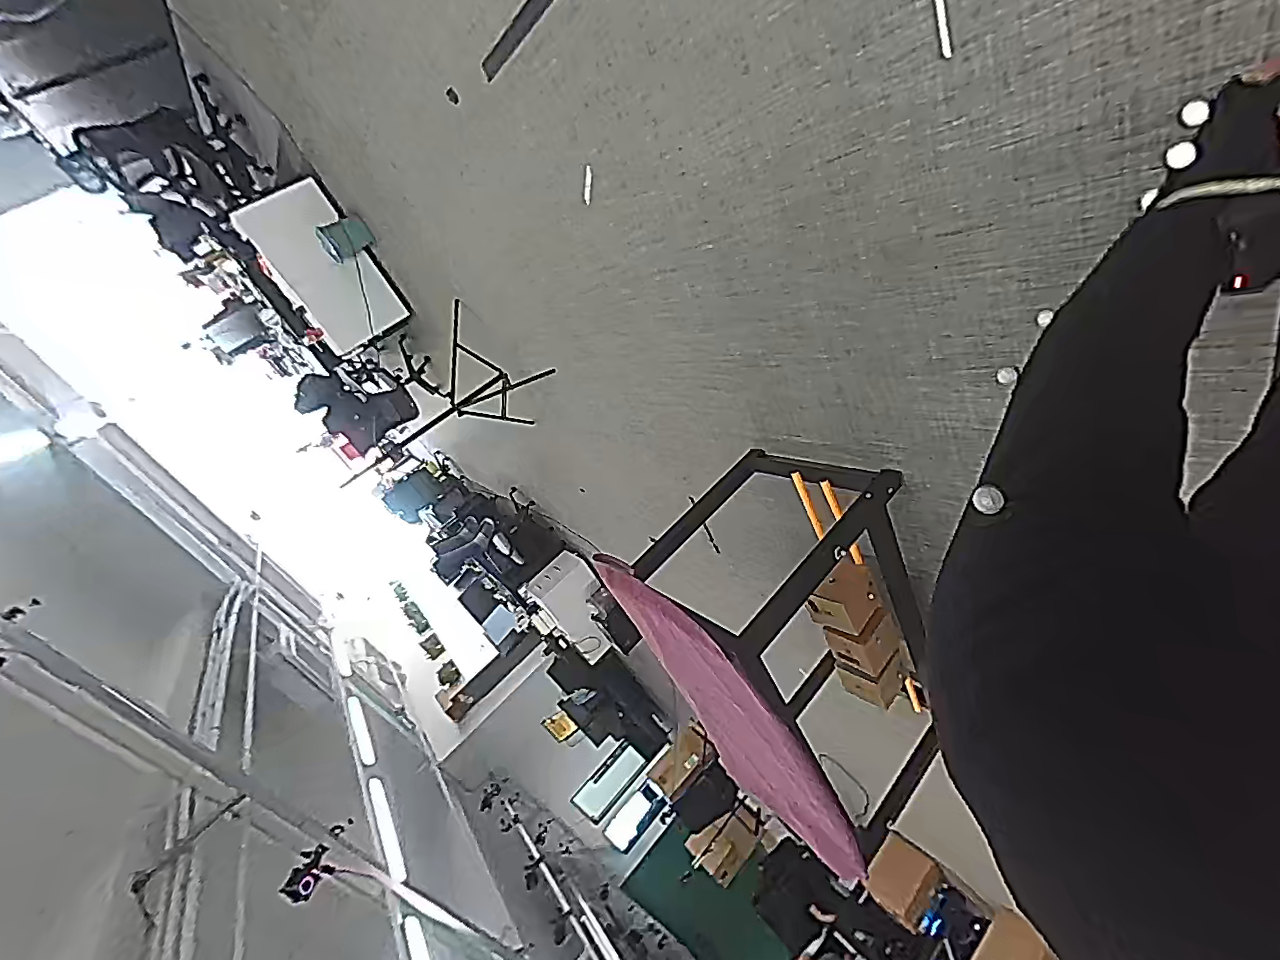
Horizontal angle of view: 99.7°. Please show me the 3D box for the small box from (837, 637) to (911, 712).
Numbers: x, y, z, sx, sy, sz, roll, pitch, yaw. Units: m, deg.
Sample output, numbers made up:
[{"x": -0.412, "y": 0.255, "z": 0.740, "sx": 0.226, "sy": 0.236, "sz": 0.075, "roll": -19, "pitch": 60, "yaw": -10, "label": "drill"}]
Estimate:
[{"x": 0.868, "y": 0.712, "z": 2.001, "sx": 0.179, "sy": 0.176, "sz": 0.168, "roll": 12, "pitch": 139, "yaw": 52, "label": "small box"}]

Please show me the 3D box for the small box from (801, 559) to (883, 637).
[{"x": 0.676, "y": 0.385, "z": 1.806, "sx": 0.179, "sy": 0.176, "sz": 0.168, "roll": 10, "pitch": 139, "yaw": 53, "label": "small box"}]
